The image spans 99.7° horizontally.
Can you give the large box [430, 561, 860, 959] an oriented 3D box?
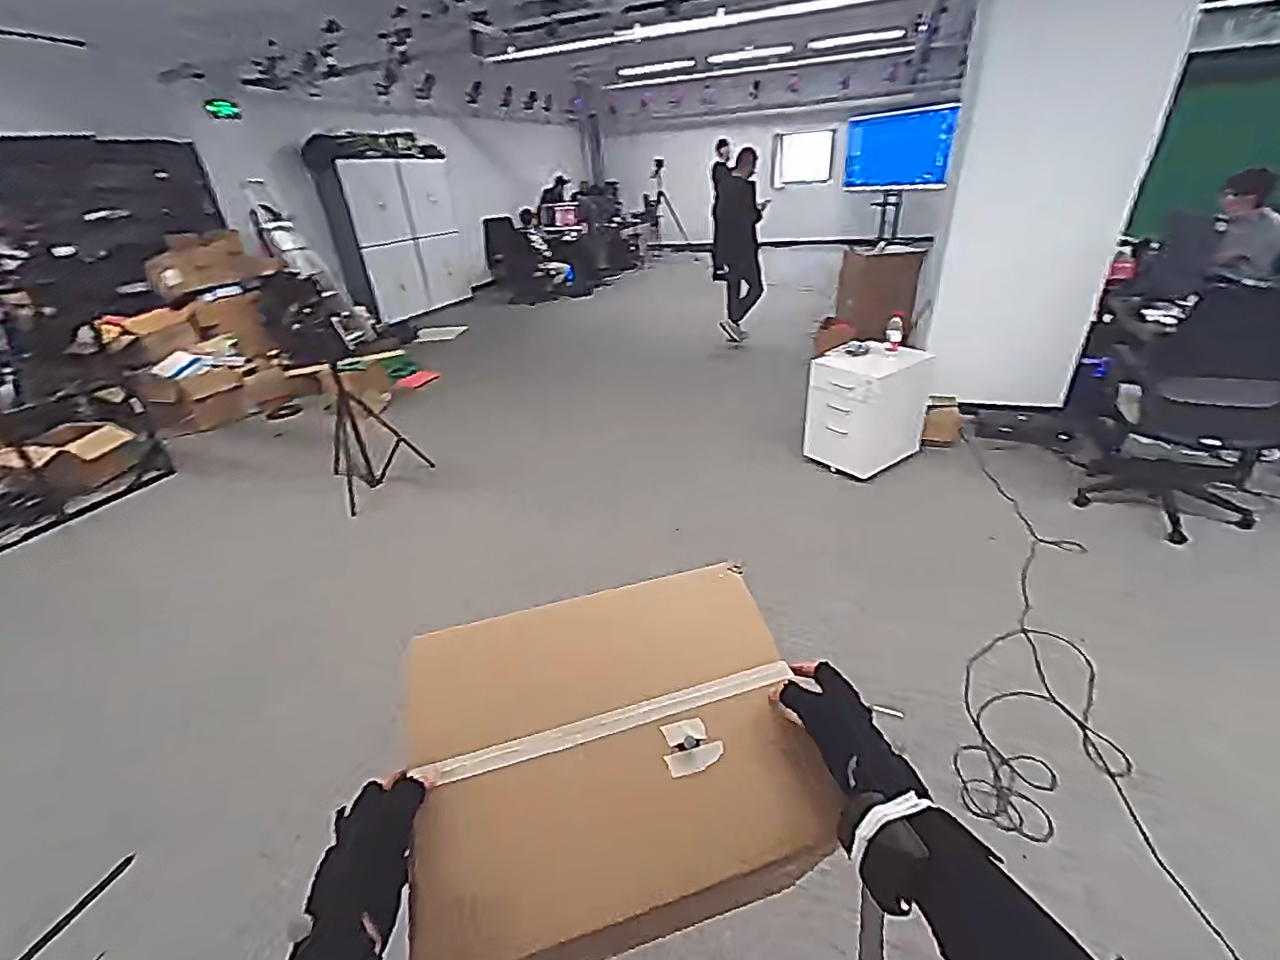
[{"bbox_3d":[-0.020,0.353,0.682,0.408,0.320,0.320,-10,47,-12],"label":"large box"}]
